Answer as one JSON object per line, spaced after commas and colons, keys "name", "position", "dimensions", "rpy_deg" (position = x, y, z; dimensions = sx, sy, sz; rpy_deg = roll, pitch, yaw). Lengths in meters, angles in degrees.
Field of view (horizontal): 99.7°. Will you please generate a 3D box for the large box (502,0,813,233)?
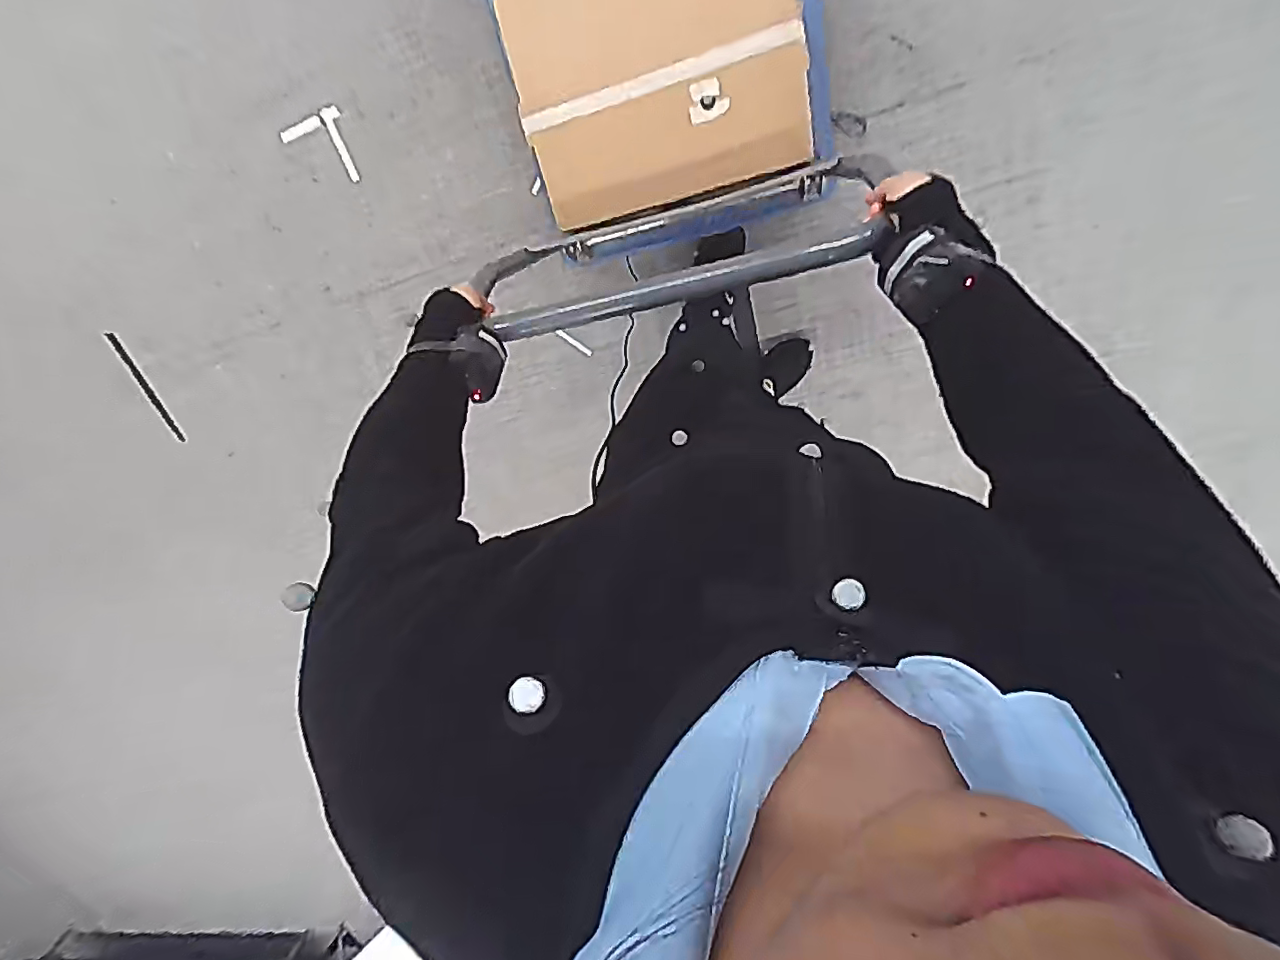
{"name": "large box", "position": [0.046, -0.639, 0.915], "dimensions": [0.408, 0.320, 0.320], "rpy_deg": [-10, 115, 13]}
